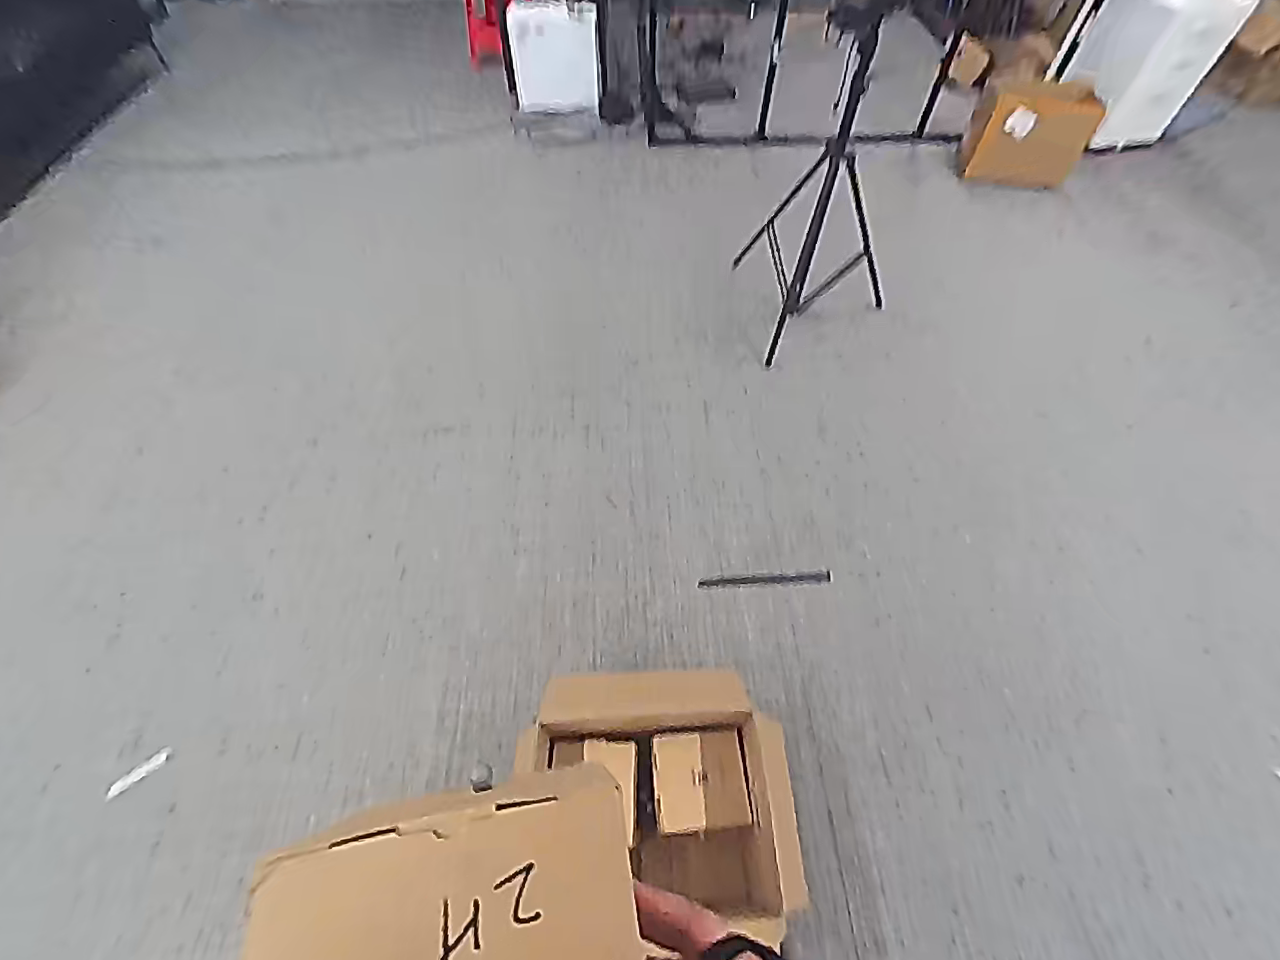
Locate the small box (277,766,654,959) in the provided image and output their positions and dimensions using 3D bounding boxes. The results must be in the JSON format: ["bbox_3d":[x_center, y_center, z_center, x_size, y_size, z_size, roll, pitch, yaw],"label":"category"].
[{"bbox_3d":[-0.080,0.276,0.304,0.168,0.176,0.179,-5,66,-11],"label":"small box"}]
